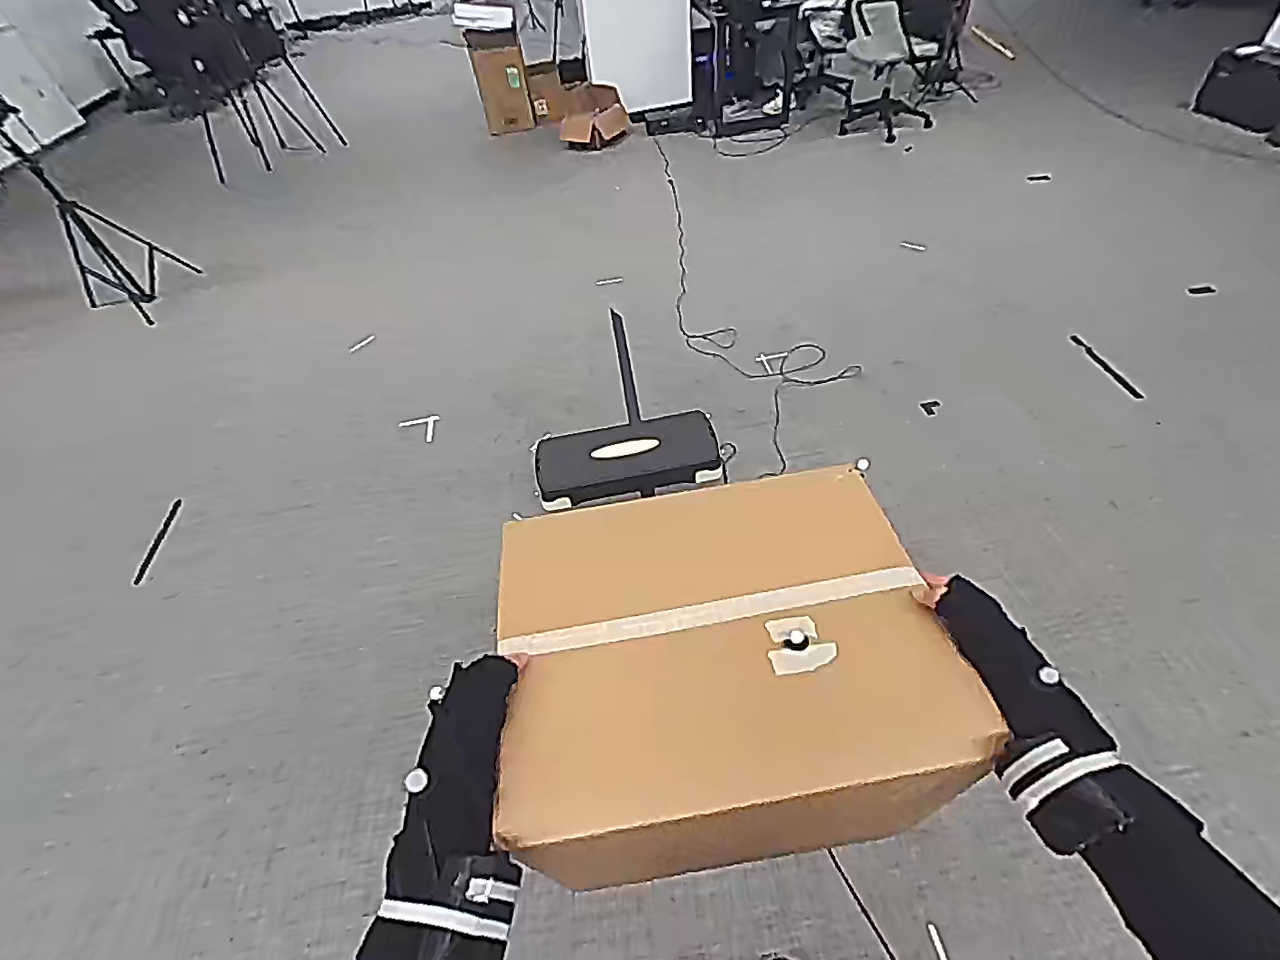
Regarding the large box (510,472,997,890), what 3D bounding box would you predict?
[{"bbox_3d":[0.084,0.234,0.632,0.408,0.320,0.320,-10,47,-2],"label":"large box"}]
